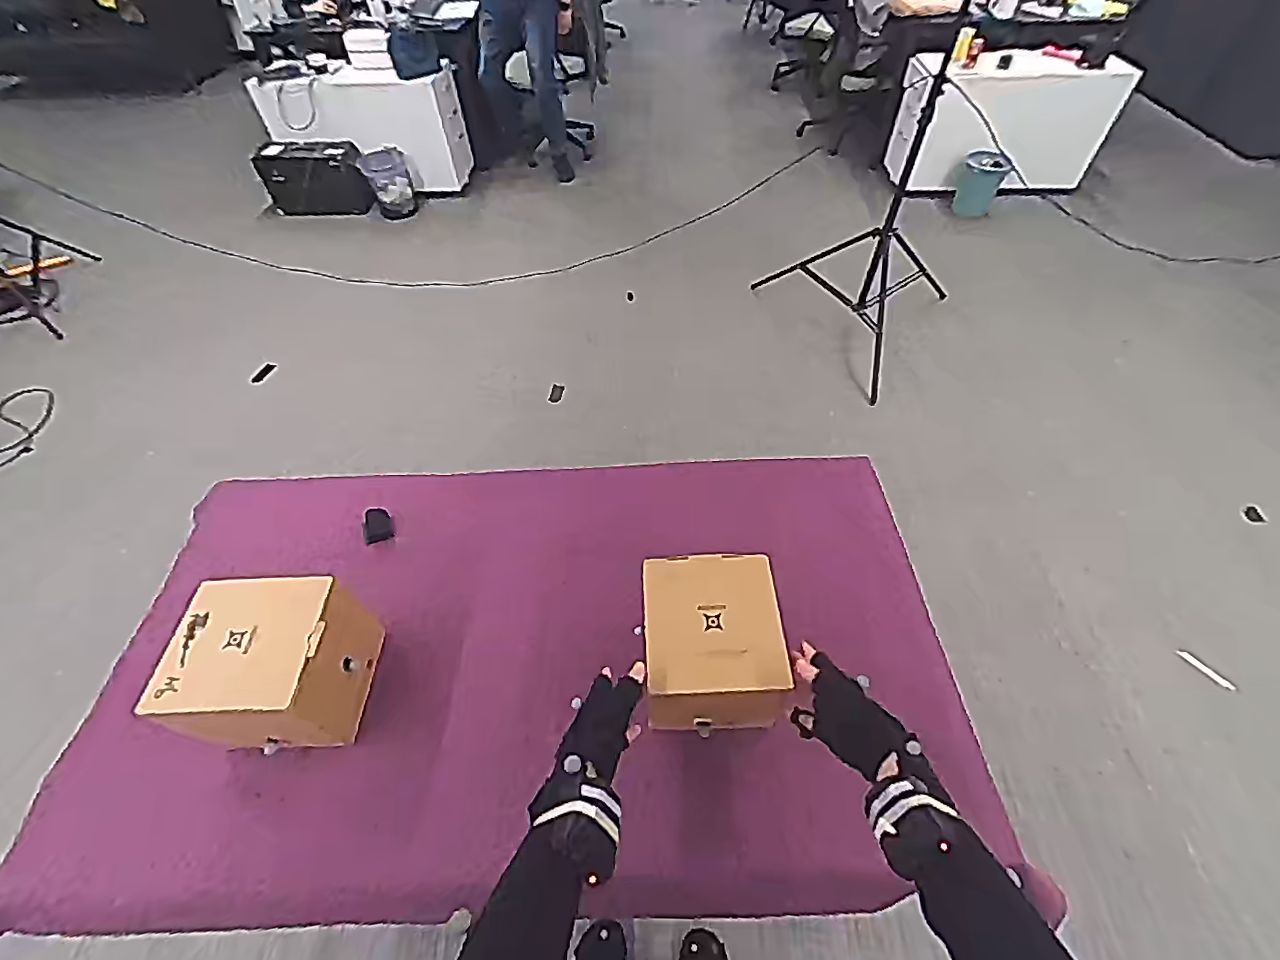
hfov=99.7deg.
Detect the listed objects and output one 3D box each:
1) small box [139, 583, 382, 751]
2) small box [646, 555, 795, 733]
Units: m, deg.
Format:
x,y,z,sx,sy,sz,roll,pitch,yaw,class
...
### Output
x,y,z,sx,sy,sz,roll,pitch,yaw,class
-0.469,0.247,0.709,0.179,0.176,0.168,-1,51,-1,small box
0.092,0.219,0.718,0.168,0.176,0.179,-4,52,1,small box
